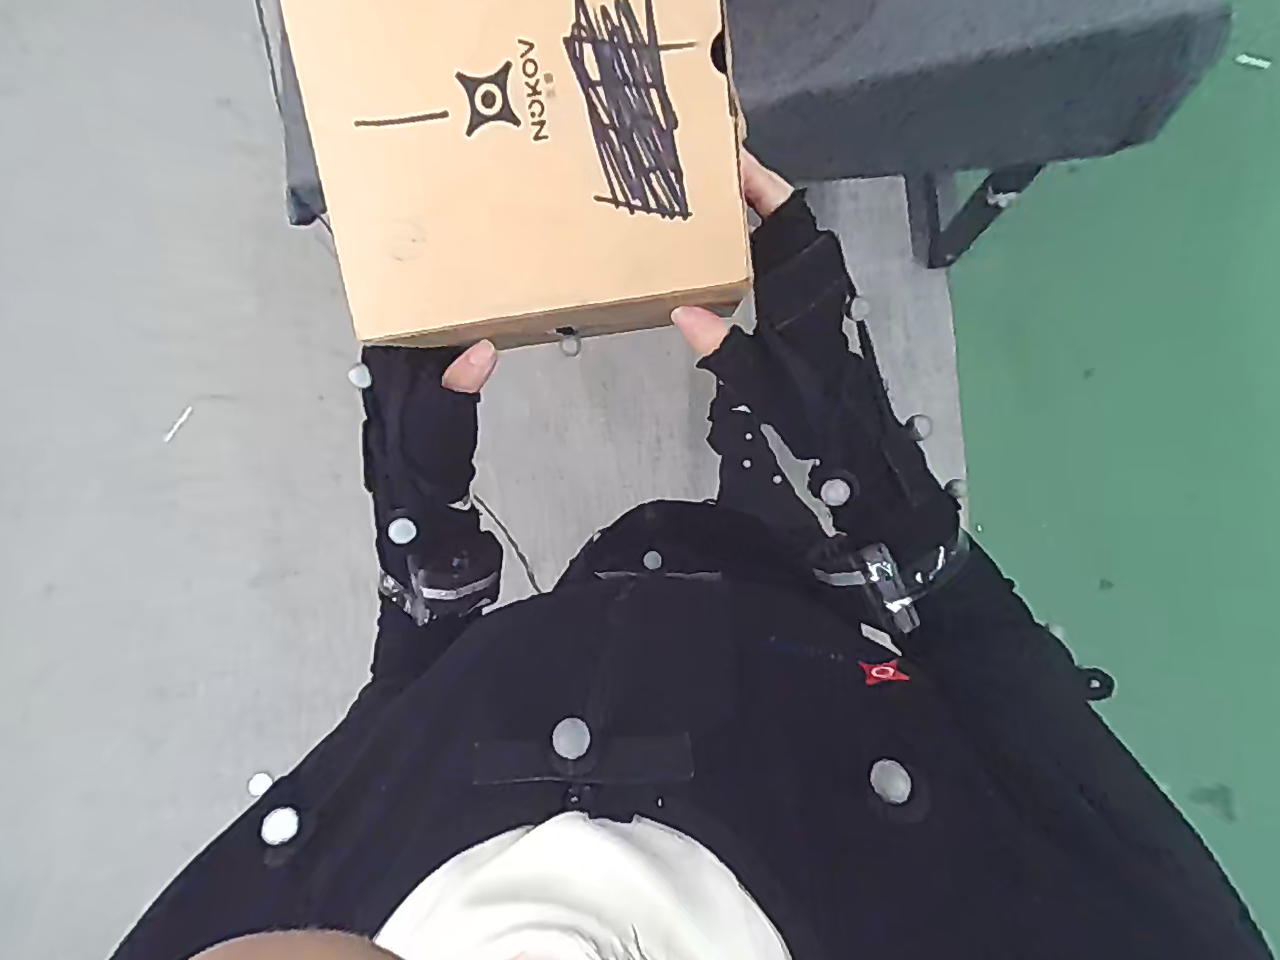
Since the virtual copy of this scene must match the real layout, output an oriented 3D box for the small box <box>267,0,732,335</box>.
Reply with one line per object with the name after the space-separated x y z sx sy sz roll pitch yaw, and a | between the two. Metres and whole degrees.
-0.049 -0.173 0.290 0.179 0.176 0.168 -5 101 8 | small box
